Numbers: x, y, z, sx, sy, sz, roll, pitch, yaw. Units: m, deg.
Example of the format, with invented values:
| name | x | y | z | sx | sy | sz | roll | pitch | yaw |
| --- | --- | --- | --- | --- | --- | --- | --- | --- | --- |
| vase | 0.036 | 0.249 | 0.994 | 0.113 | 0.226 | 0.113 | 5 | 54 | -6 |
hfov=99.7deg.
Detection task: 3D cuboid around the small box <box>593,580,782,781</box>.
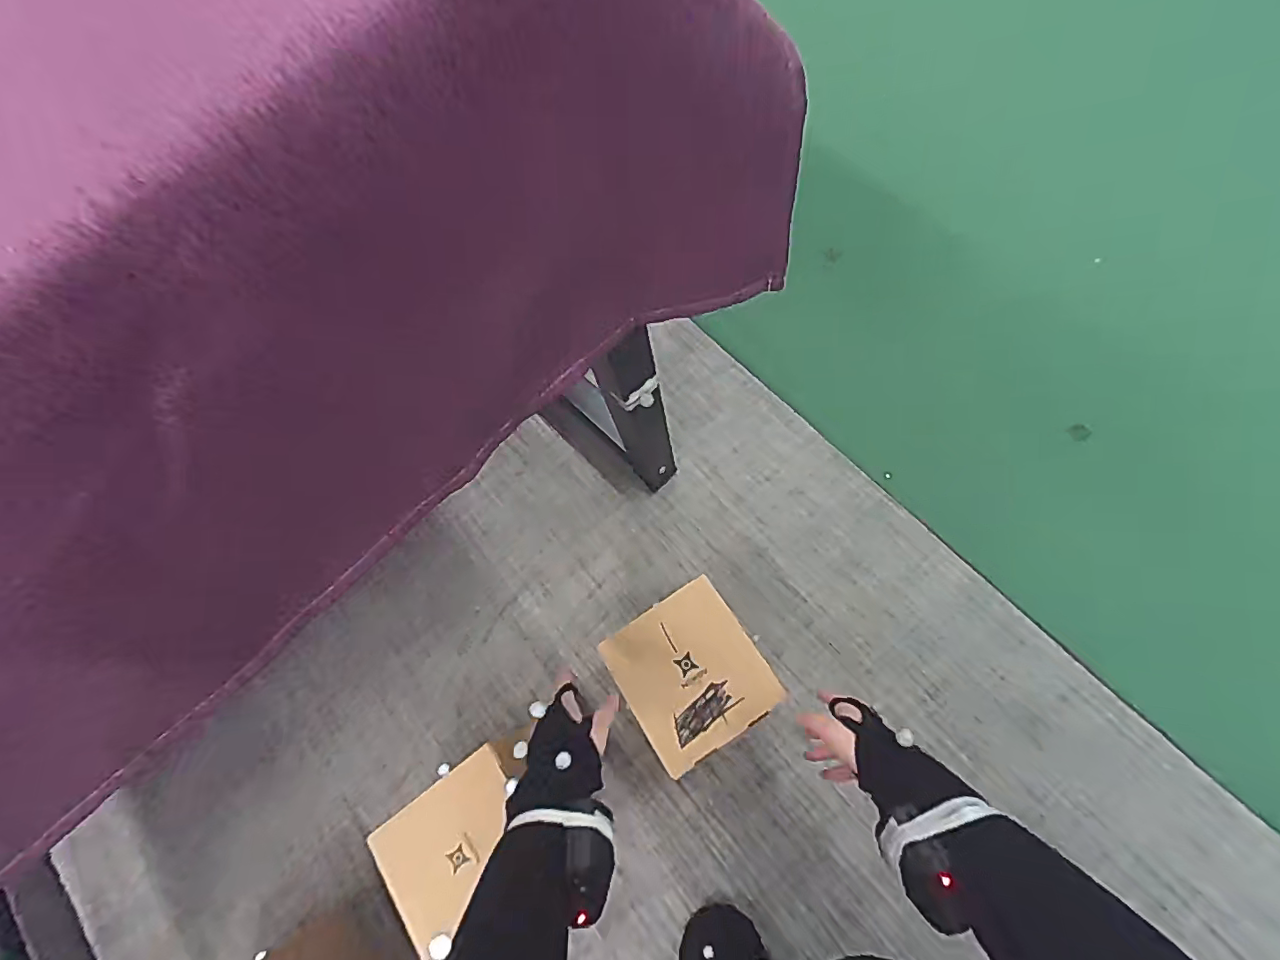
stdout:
| name | x | y | z | sx | sy | sz | roll | pitch | yaw |
| --- | --- | --- | --- | --- | --- | --- | --- | --- | --- |
| small box | 0.064 | 0.258 | 0.719 | 0.168 | 0.176 | 0.179 | -33 | 69 | -4 |
